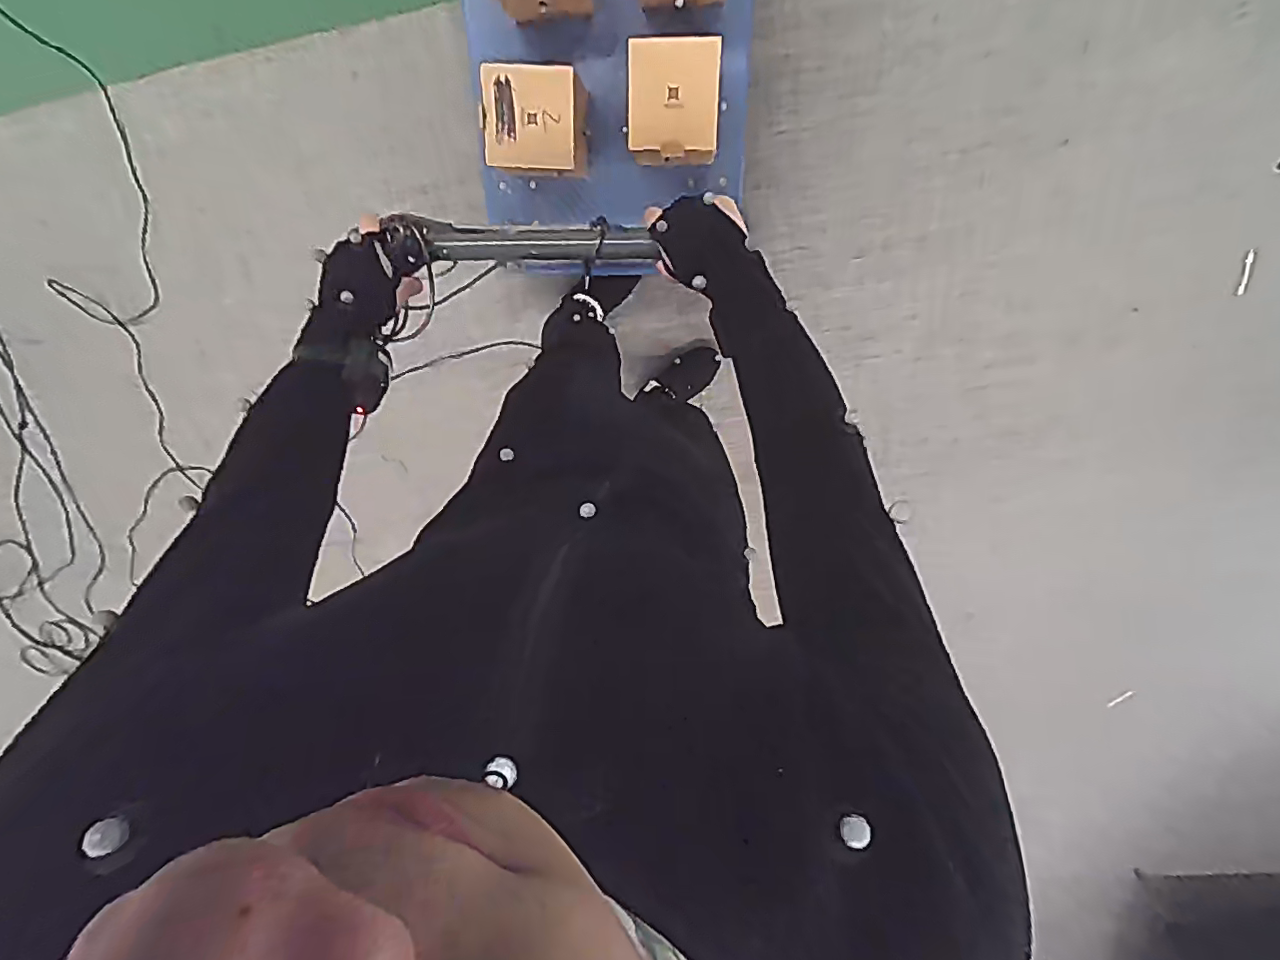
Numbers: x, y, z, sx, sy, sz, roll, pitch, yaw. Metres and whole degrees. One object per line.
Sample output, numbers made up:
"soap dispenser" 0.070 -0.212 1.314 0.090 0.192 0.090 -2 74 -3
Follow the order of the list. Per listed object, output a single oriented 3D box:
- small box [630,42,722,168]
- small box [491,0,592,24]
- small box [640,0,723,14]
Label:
"small box" 0.068 -0.721 1.056 0.168 0.176 0.179 2 115 5
"small box" -0.185 -0.956 0.971 0.168 0.176 0.179 -3 114 5
"small box" 0.071 -0.962 0.947 0.168 0.176 0.179 -1 115 6
